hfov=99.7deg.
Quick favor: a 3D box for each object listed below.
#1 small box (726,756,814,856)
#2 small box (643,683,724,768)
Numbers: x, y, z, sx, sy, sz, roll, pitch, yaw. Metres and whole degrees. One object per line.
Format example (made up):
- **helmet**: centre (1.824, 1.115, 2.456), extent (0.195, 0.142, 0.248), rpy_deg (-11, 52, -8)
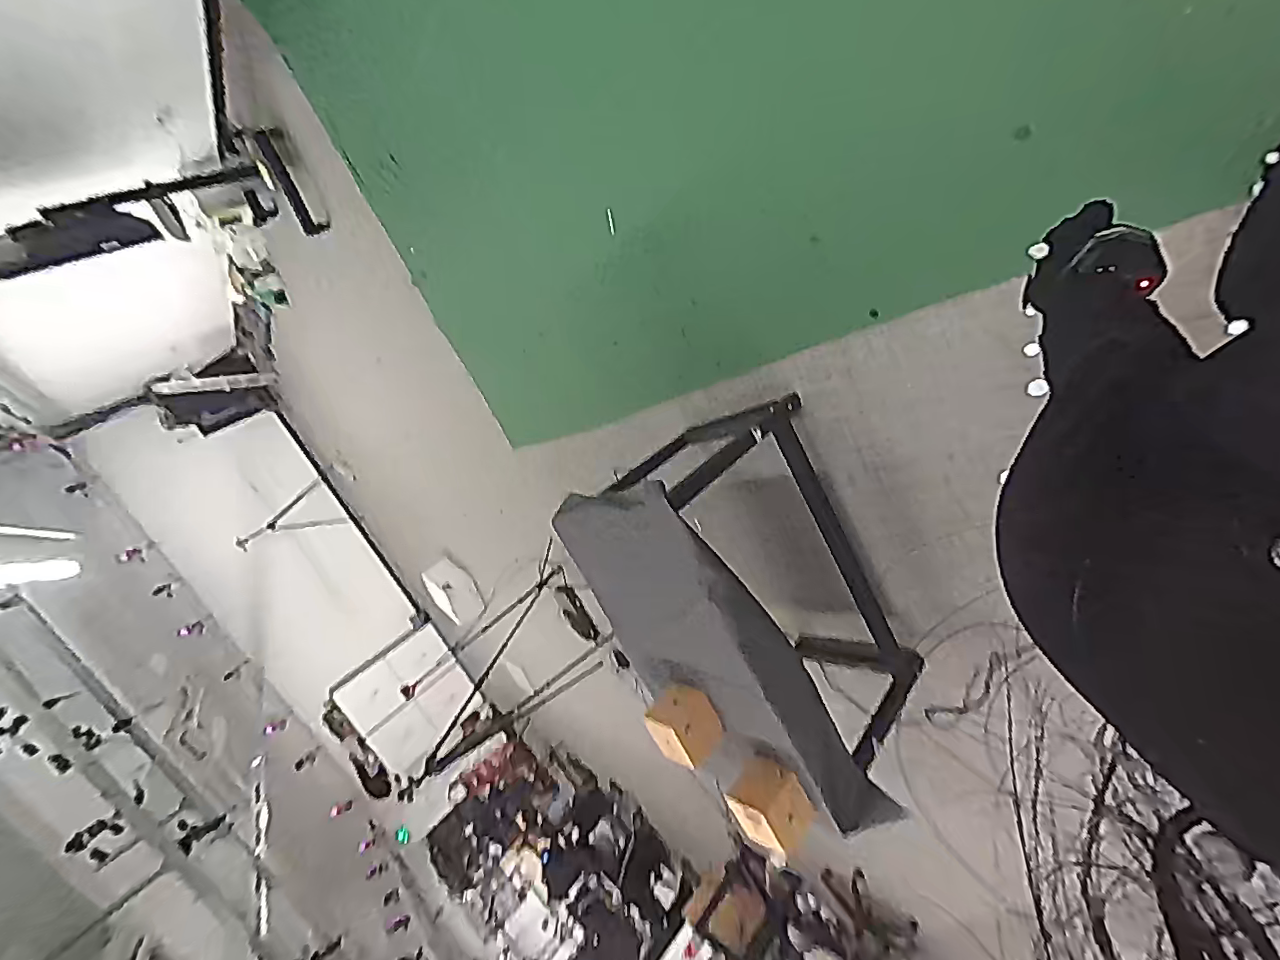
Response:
- **small box**: centre (0.404, 0.999, 1.675), extent (0.168, 0.176, 0.179), rpy_deg (-11, 112, 55)
- **small box**: centre (0.147, 0.812, 1.811), extent (0.168, 0.176, 0.179), rpy_deg (-9, 113, 53)
